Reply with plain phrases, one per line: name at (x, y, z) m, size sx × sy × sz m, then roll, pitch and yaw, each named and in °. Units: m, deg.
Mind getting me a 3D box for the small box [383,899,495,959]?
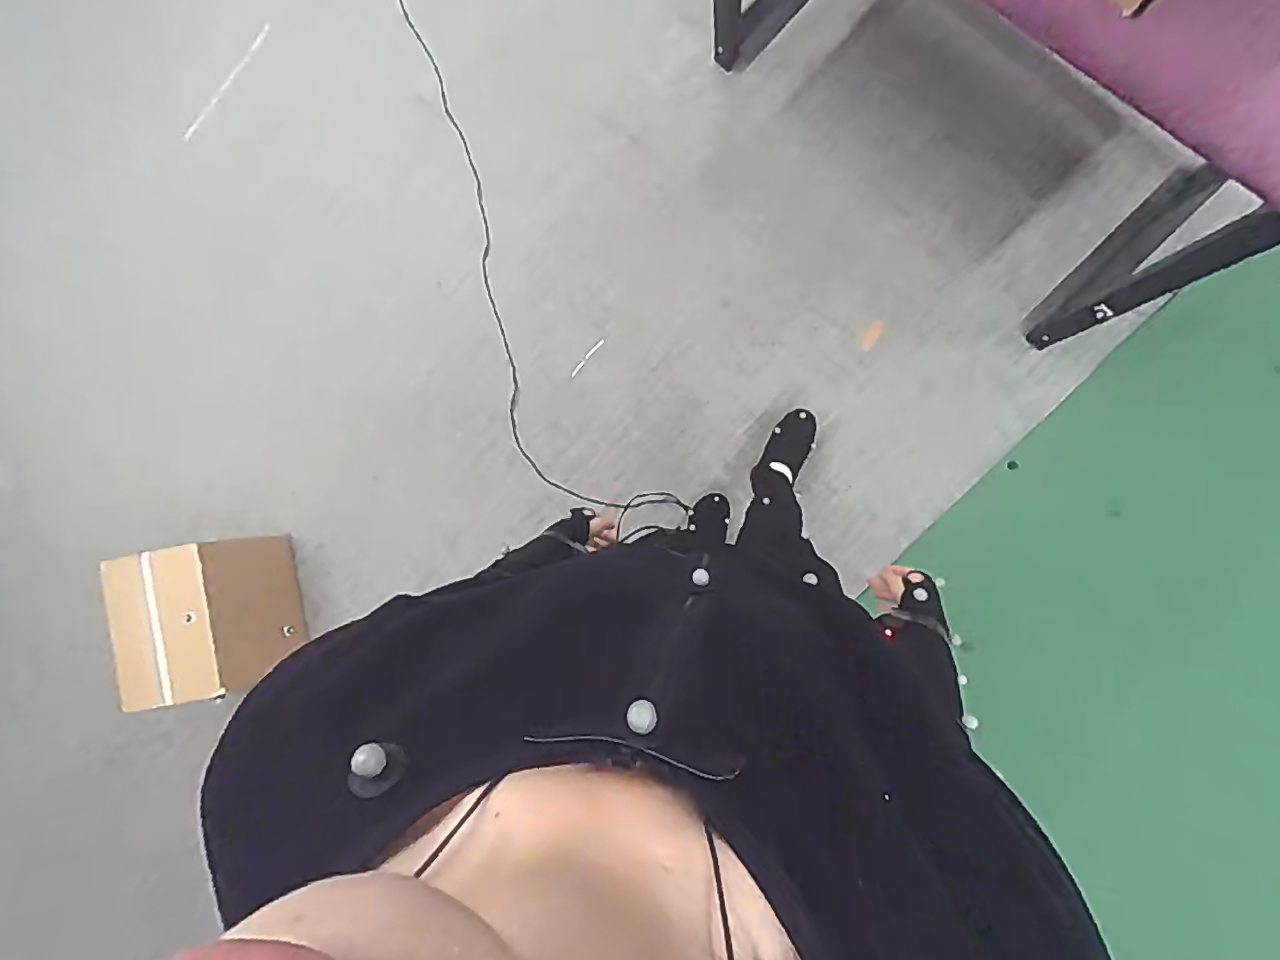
small box at (-0.406, 0.950, 1.011) m, size 0.179 × 0.176 × 0.168 m, roll 37°, pitch 94°, yaw 8°
